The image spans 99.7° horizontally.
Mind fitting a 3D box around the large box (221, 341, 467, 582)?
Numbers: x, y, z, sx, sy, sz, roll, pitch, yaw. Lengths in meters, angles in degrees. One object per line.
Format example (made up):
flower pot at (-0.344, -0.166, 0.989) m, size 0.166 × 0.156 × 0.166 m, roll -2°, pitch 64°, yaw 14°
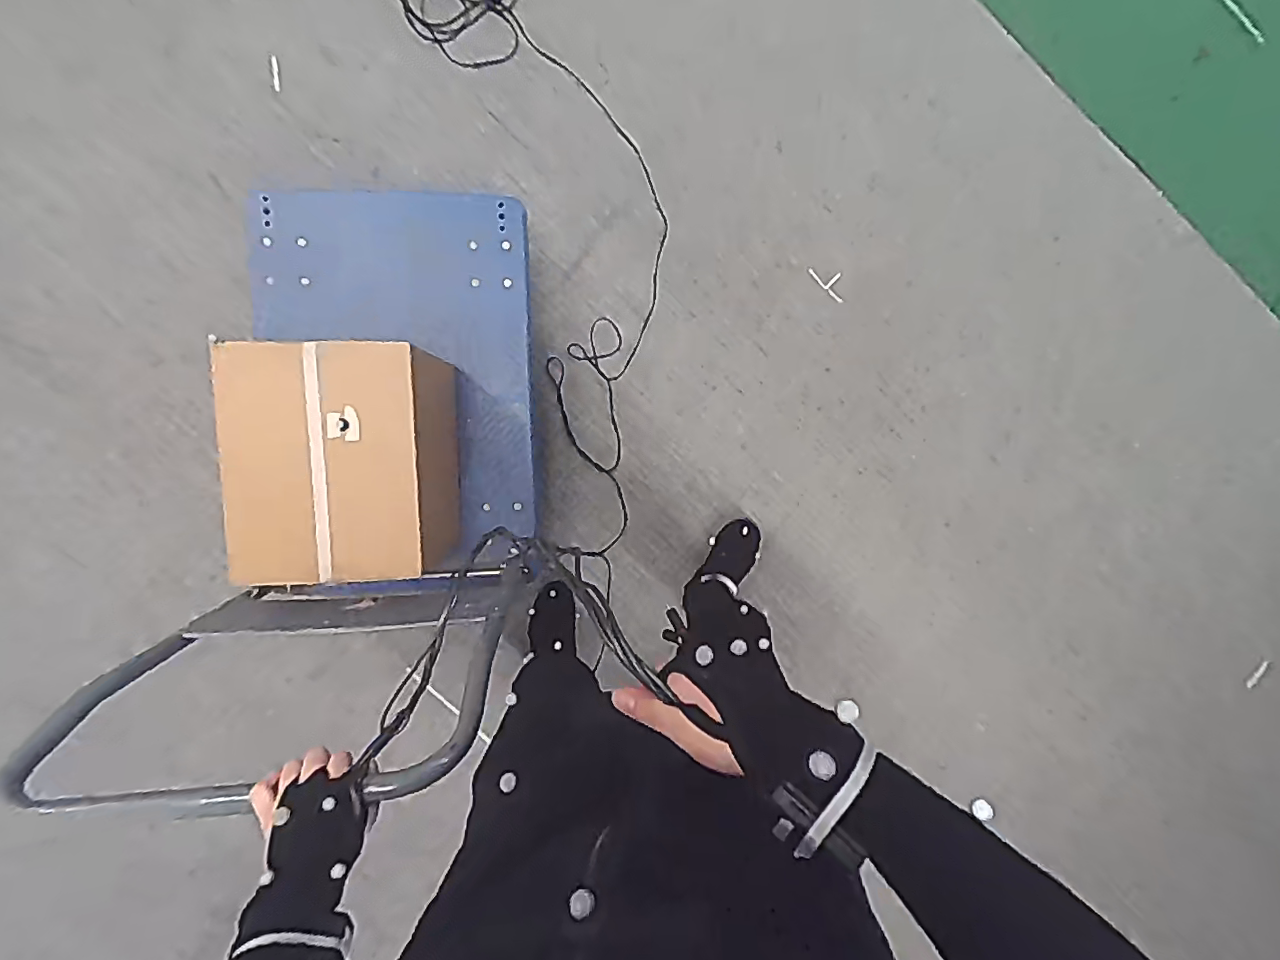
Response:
large box at (-0.538, -0.039, 1.056) m, size 0.320 × 0.320 × 0.408 m, roll -2°, pitch 94°, yaw -6°
